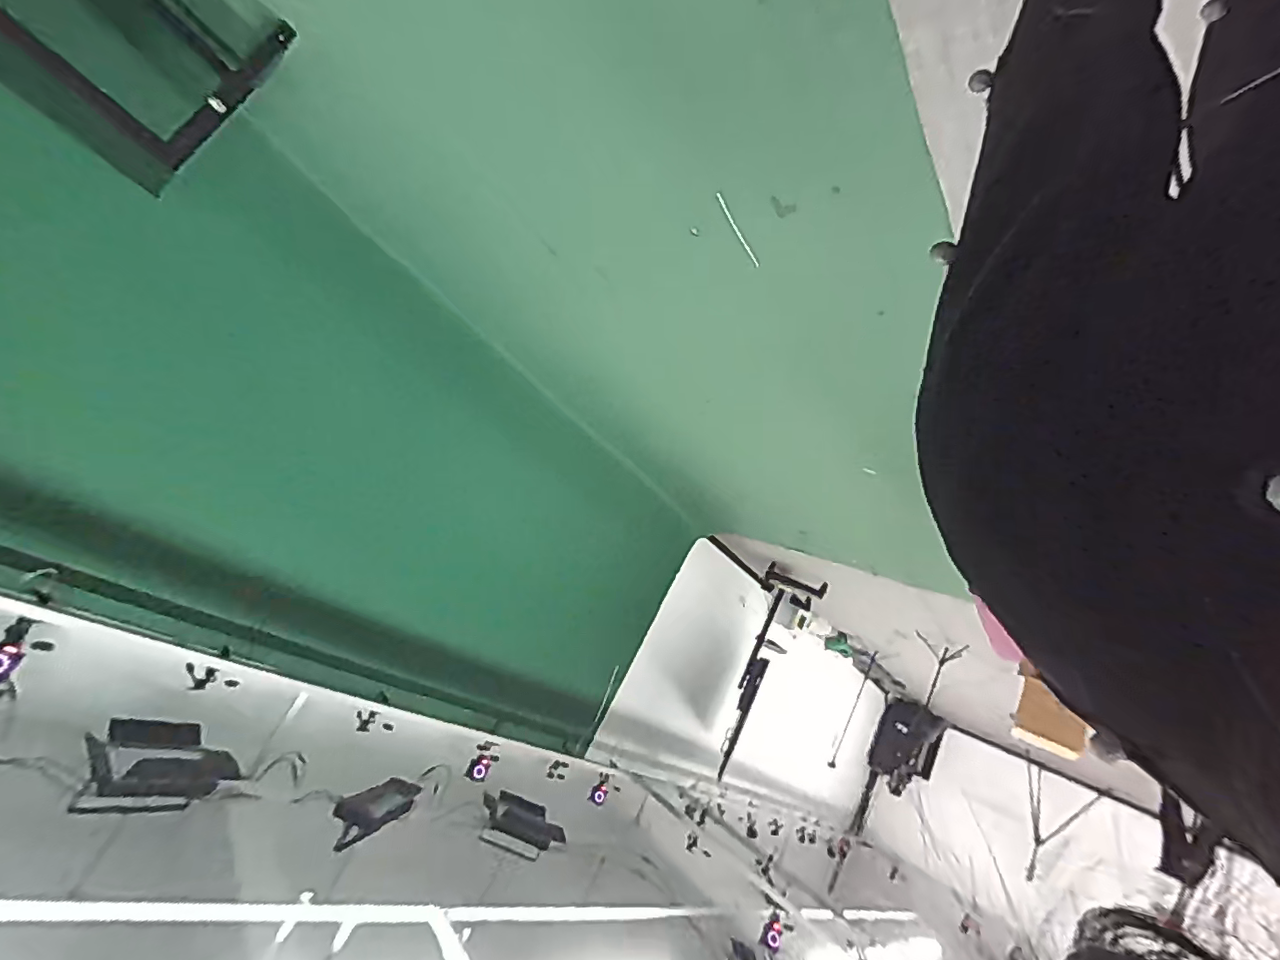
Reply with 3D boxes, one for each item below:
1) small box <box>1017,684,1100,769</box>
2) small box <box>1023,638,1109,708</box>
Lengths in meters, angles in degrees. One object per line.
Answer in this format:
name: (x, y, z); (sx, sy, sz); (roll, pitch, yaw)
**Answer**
small box: (1.270, 0.747, 1.645); (0.168, 0.176, 0.179); (16, 160, 40)
small box: (1.349, 0.617, 1.709); (0.179, 0.176, 0.168); (13, 159, 47)
